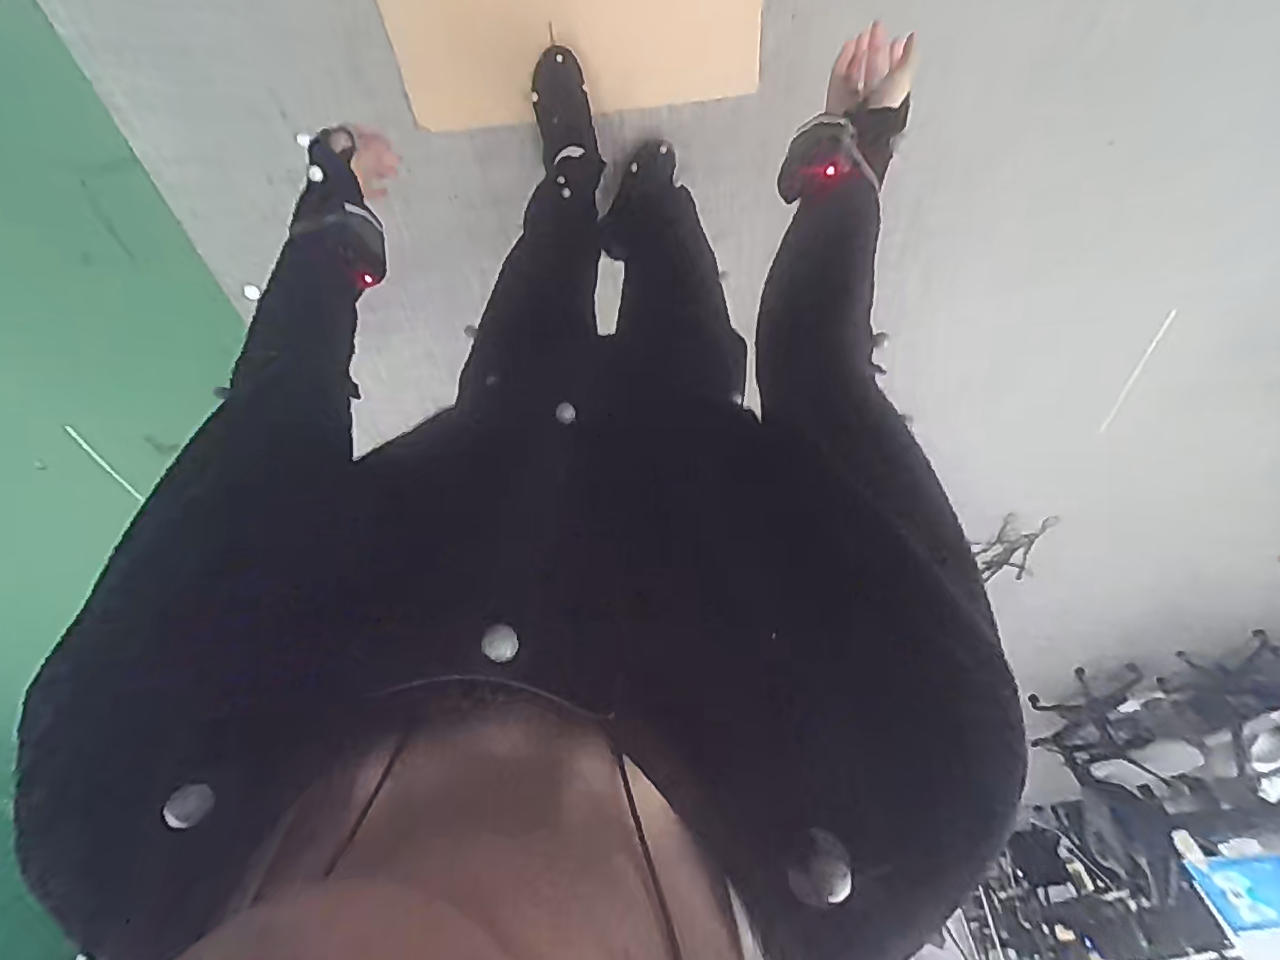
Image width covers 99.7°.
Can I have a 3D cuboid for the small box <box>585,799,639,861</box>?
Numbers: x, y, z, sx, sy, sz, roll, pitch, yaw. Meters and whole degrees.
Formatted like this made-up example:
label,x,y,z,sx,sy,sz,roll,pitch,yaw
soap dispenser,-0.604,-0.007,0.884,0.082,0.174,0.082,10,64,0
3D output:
label,x,y,z,sx,sy,sz,roll,pitch,yaw
small box,-0.099,1.237,1.896,0.168,0.176,0.179,-8,136,0
